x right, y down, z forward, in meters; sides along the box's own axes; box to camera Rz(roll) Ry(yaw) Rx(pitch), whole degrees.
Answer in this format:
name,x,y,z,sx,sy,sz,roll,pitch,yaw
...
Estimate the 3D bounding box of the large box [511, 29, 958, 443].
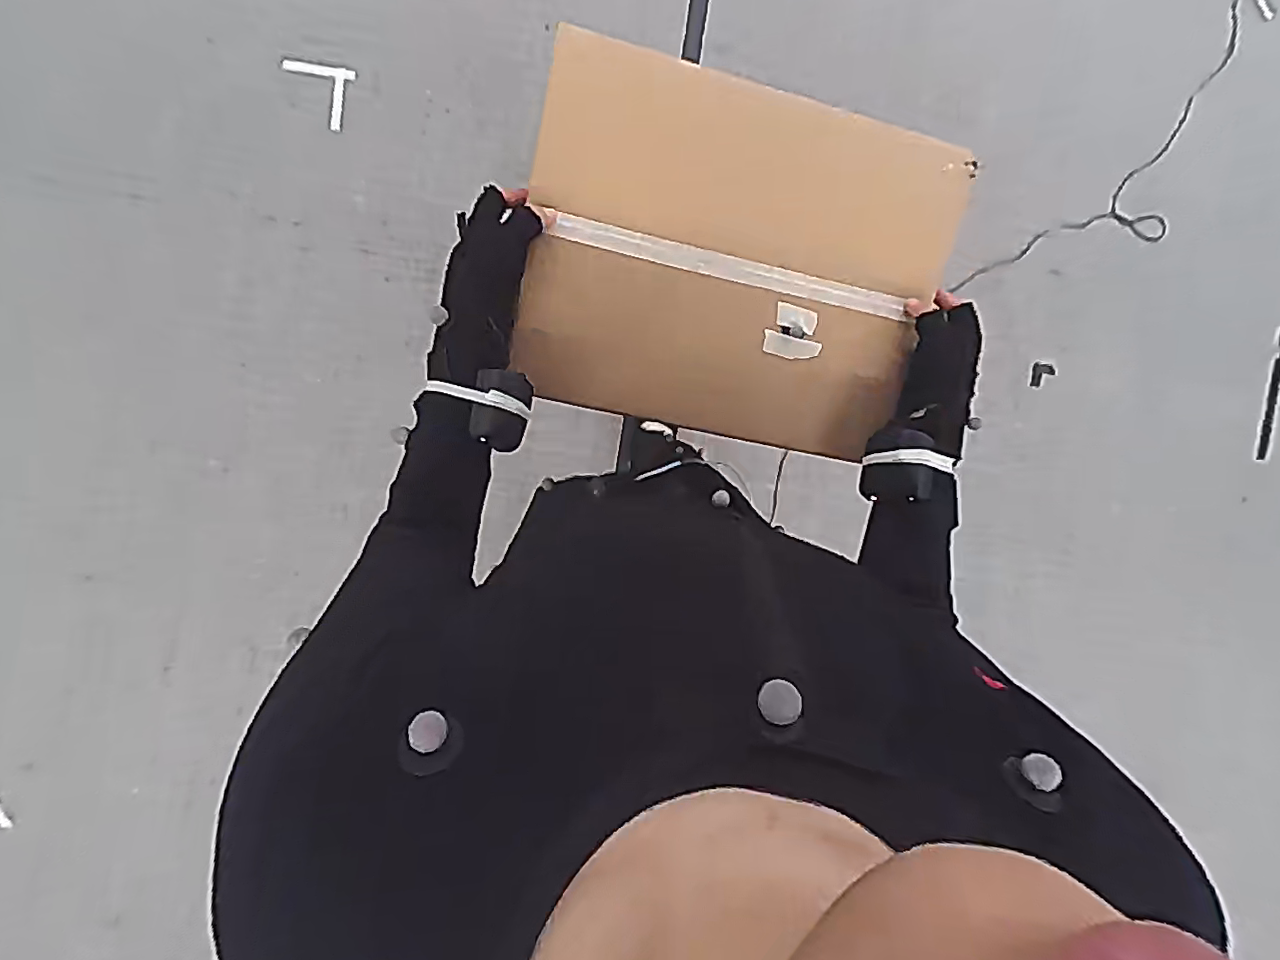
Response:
name,x,y,z,sx,sy,sz,roll,pitch,yaw
large box,0.074,-0.248,0.671,0.408,0.320,0.320,10,102,-9
